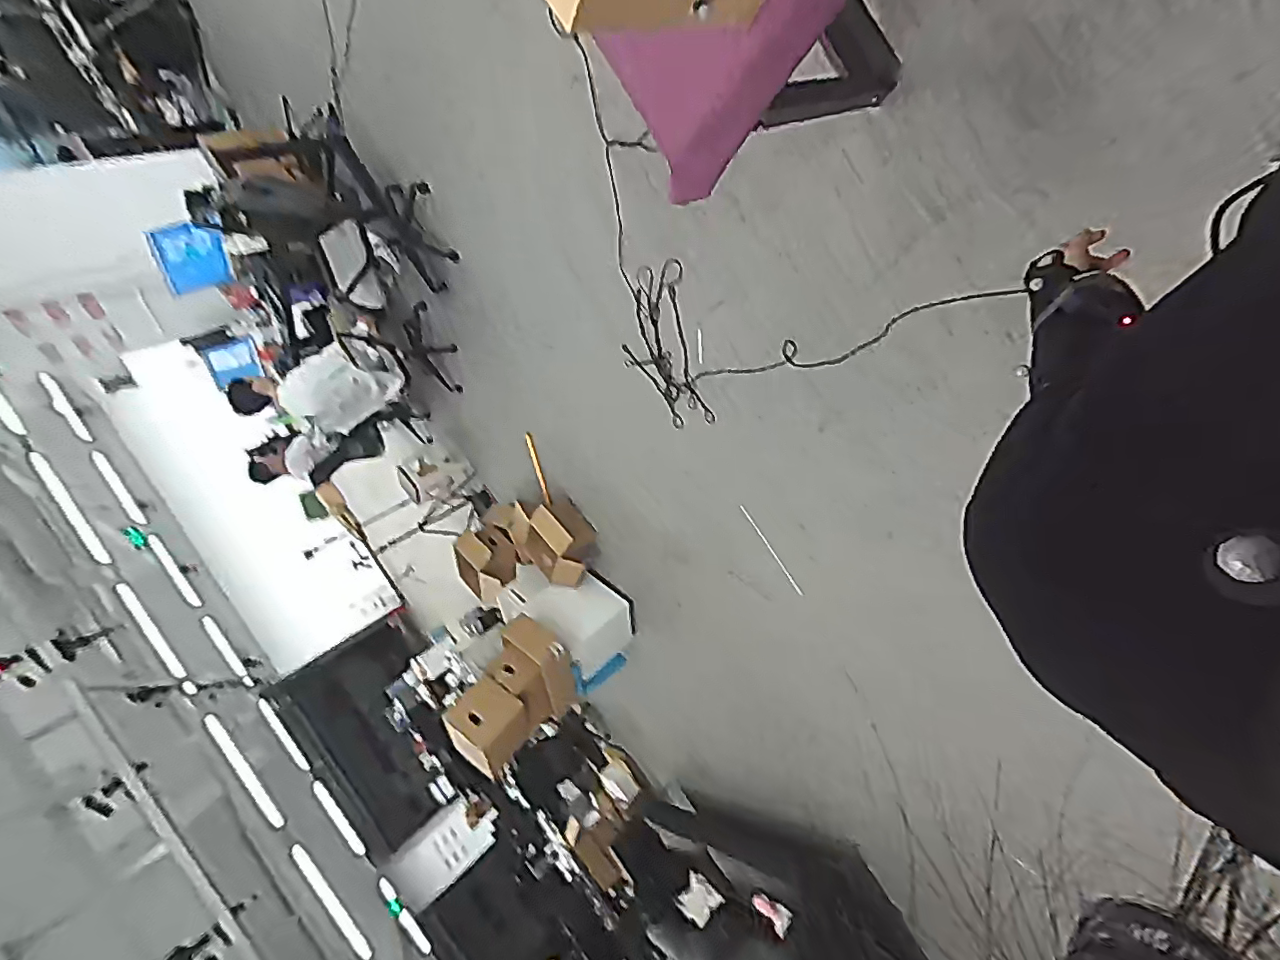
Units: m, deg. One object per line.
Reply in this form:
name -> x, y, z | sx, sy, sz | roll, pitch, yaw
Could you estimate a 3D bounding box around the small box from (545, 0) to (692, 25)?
small box -> -0.026, -0.576, 0.510 | 0.179, 0.176, 0.168 | 55, 148, 2
